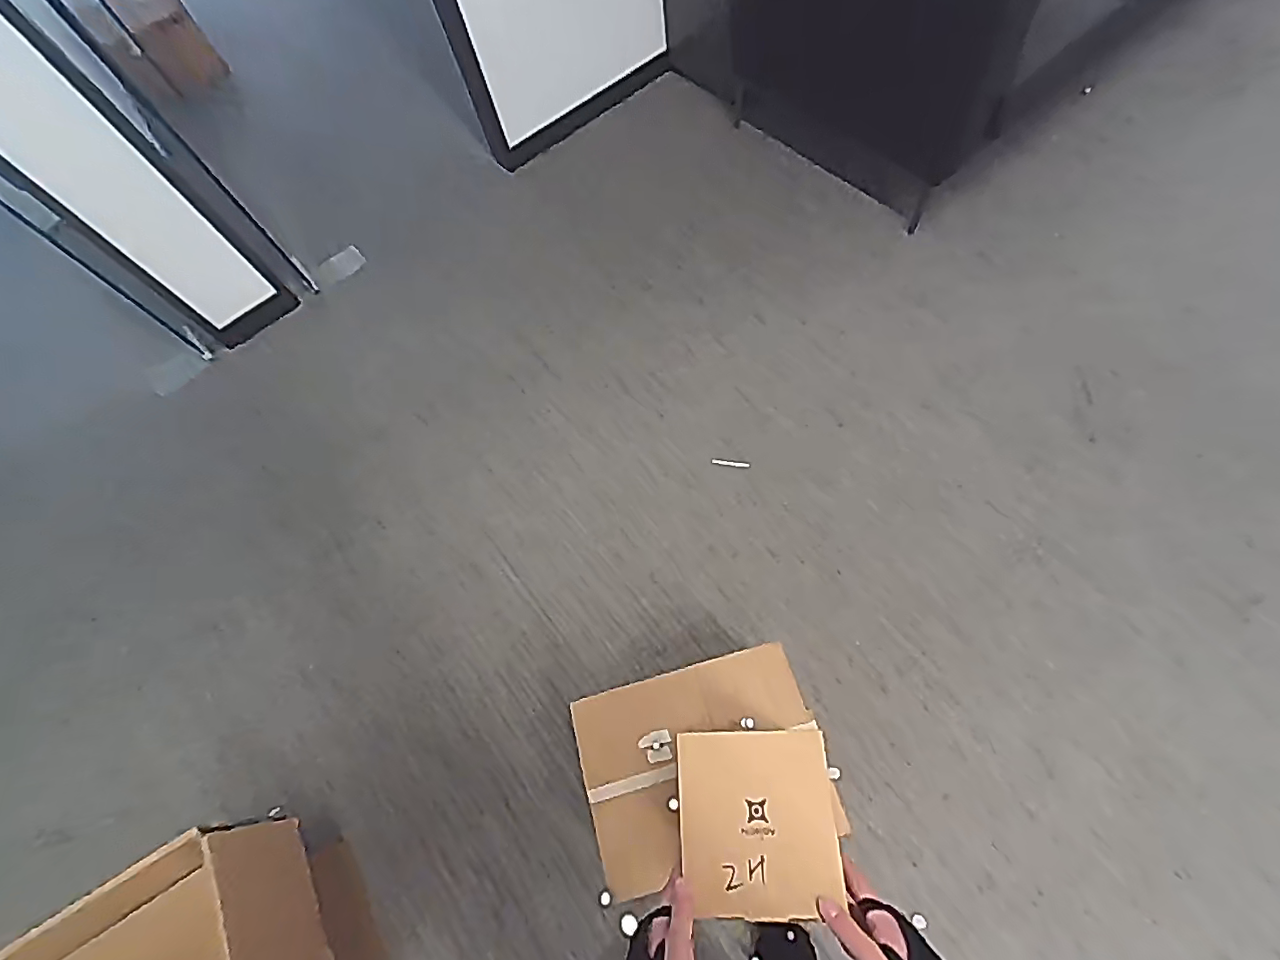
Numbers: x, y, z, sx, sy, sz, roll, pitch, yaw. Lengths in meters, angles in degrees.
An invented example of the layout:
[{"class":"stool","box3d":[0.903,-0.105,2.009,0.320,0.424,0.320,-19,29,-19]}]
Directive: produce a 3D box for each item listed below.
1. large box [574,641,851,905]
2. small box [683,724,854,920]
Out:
[{"class":"large box","box3d":[0.128,0.542,1.053,0.408,0.320,0.320,-17,64,1]},{"class":"small box","box3d":[0.140,0.391,0.645,0.168,0.176,0.179,-4,64,8]}]
